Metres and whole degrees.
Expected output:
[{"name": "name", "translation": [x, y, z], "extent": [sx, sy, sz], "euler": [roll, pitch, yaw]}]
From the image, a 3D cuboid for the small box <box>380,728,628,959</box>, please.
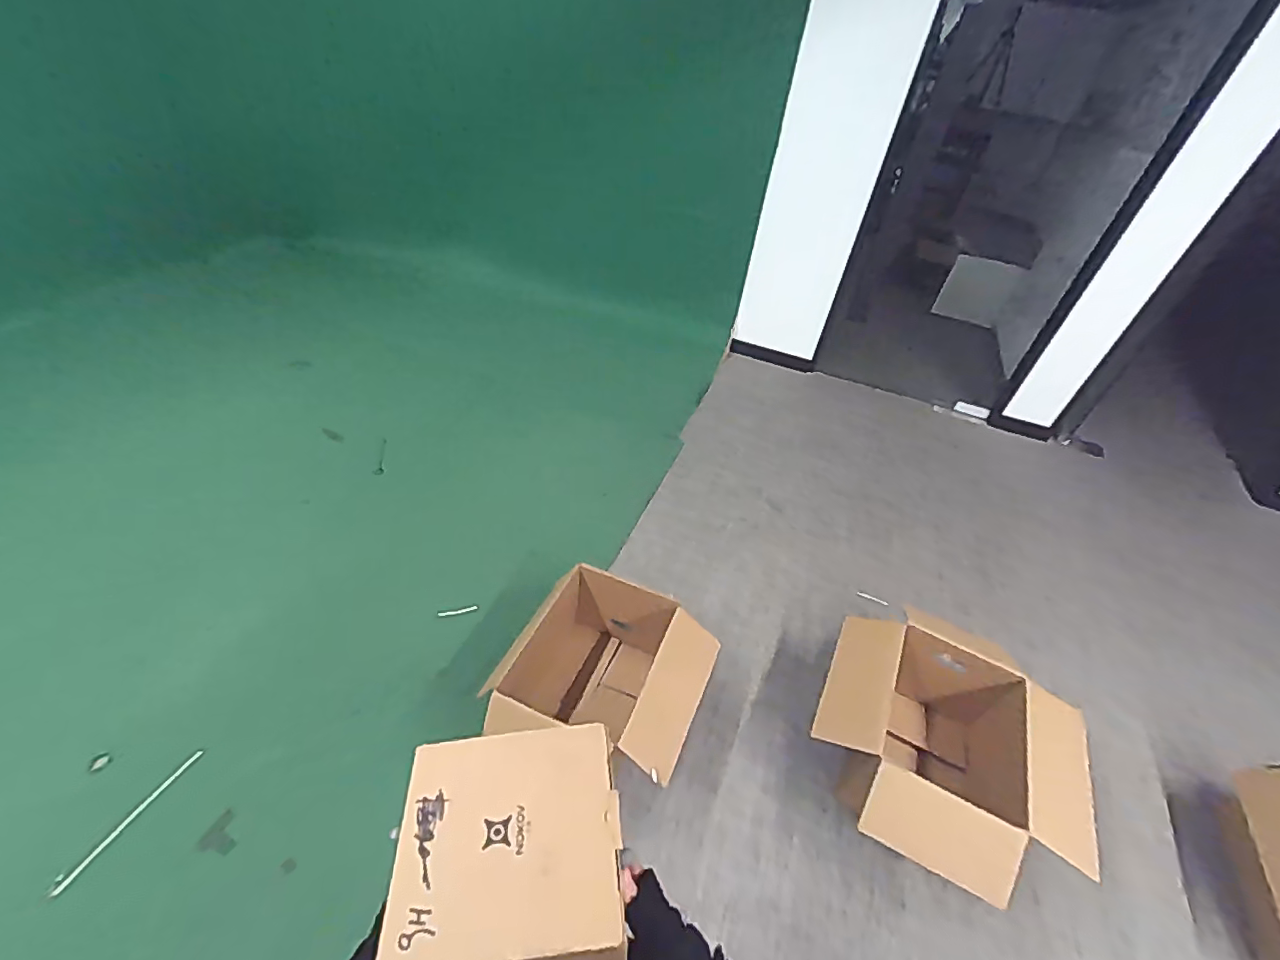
[{"name": "small box", "translation": [-0.107, 0.352, 0.492], "extent": [0.179, 0.176, 0.168], "euler": [-2, 37, -6]}]
